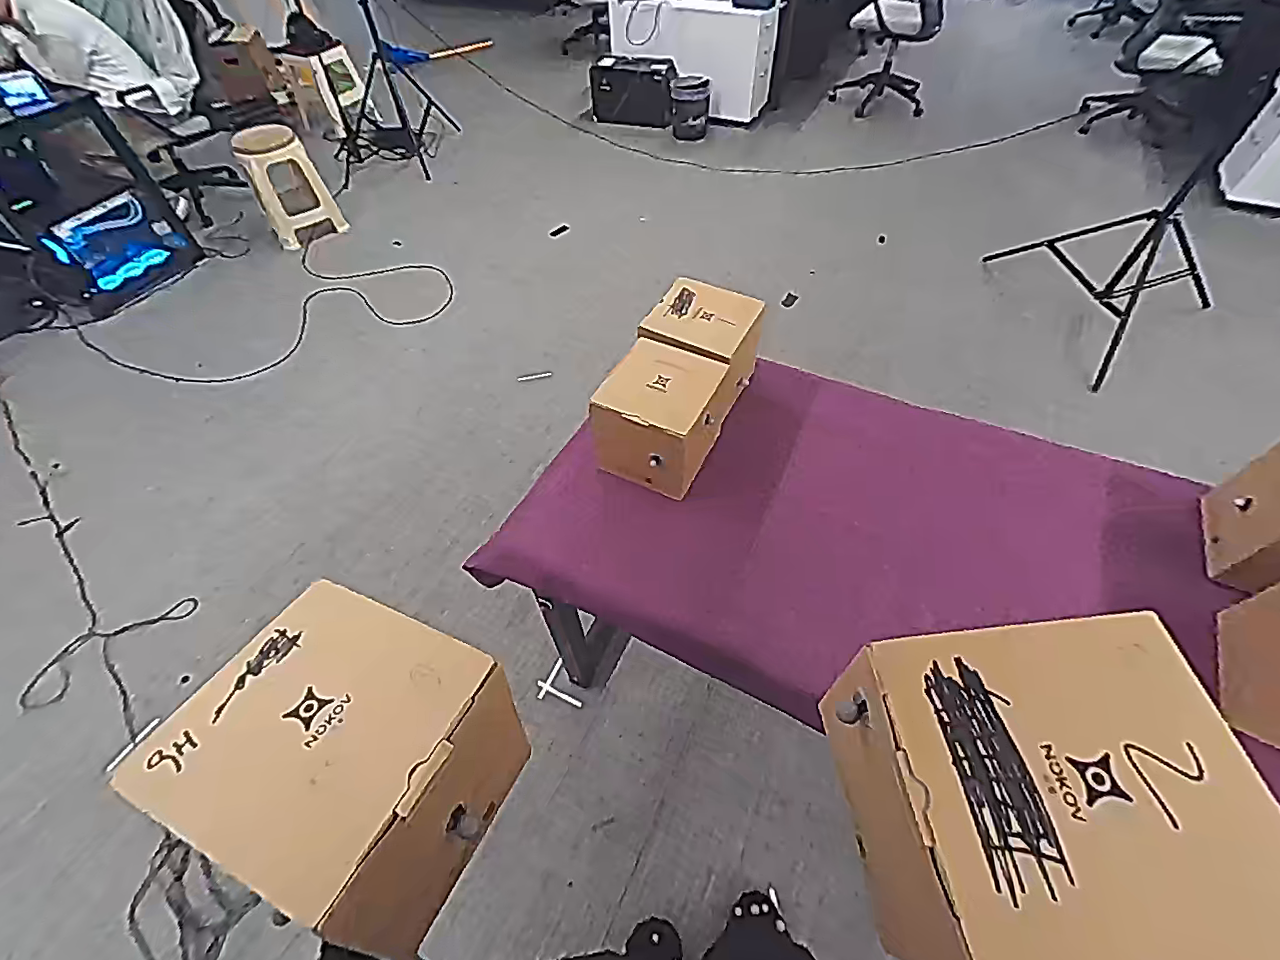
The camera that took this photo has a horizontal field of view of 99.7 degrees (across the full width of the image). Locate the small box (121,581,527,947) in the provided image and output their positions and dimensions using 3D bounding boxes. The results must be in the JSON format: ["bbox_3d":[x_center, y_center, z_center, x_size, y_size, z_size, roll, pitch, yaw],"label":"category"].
[{"bbox_3d":[-0.204,0.213,0.409,0.179,0.176,0.168,18,46,16],"label":"small box"}]

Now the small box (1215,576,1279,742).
[{"bbox_3d":[0.840,0.228,0.637,0.168,0.176,0.179,25,56,20],"label":"small box"}]

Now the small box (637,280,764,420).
[{"bbox_3d":[0.110,-0.239,1.011,0.179,0.176,0.168,24,59,17],"label":"small box"}]

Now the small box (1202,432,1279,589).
[{"bbox_3d":[0.941,0.064,0.751,0.179,0.176,0.168,22,57,17],"label":"small box"}]
